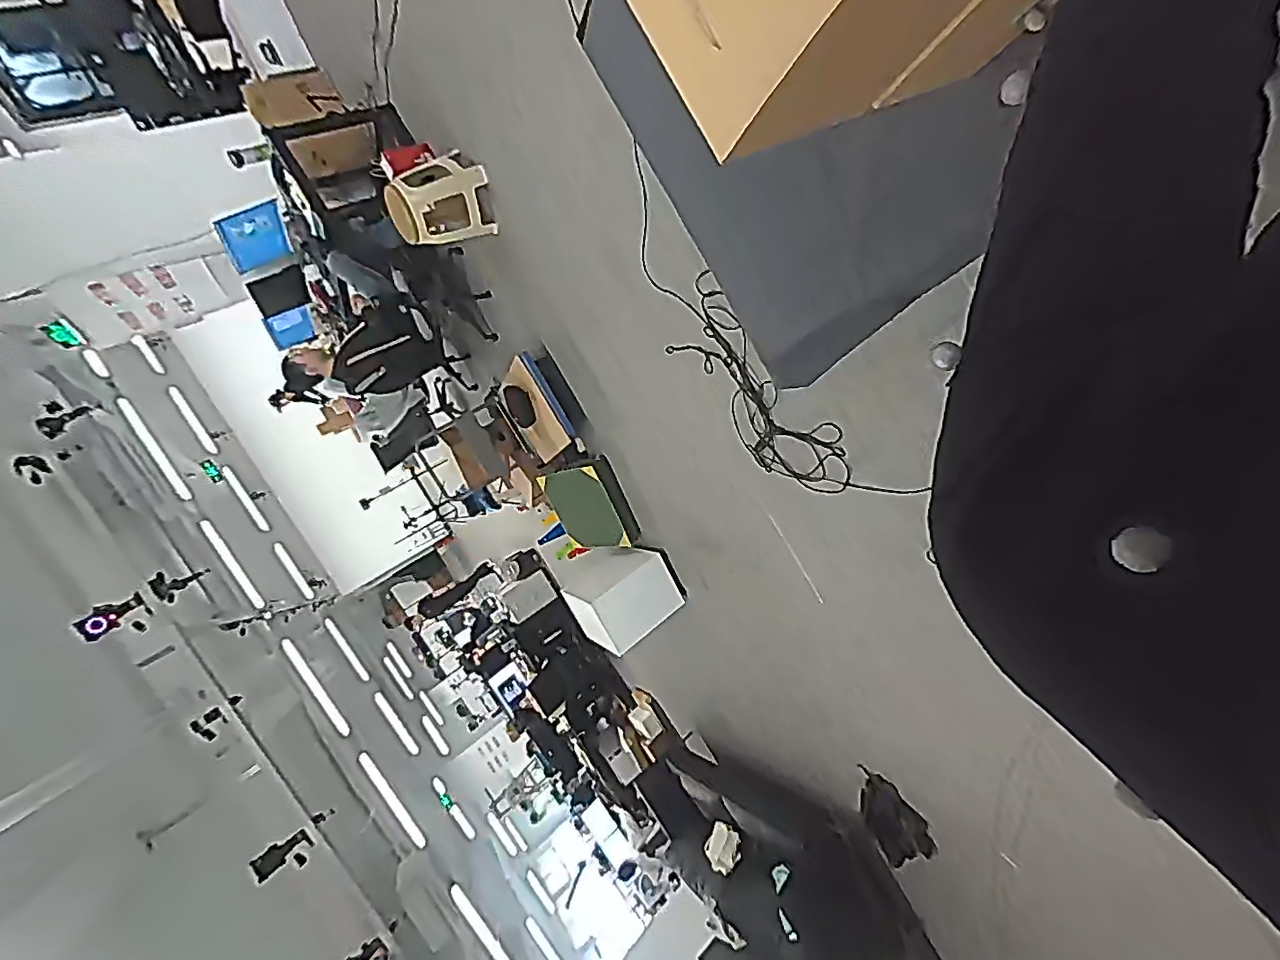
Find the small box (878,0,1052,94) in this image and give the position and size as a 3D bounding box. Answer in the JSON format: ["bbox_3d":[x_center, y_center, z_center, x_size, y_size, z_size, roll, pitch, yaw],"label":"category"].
[{"bbox_3d":[0.244,-0.438,0.400,0.179,0.176,0.168,59,155,-4],"label":"small box"}]

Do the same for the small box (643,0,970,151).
[{"bbox_3d":[0.118,-0.356,0.337,0.168,0.176,0.179,59,156,-2],"label":"small box"}]
